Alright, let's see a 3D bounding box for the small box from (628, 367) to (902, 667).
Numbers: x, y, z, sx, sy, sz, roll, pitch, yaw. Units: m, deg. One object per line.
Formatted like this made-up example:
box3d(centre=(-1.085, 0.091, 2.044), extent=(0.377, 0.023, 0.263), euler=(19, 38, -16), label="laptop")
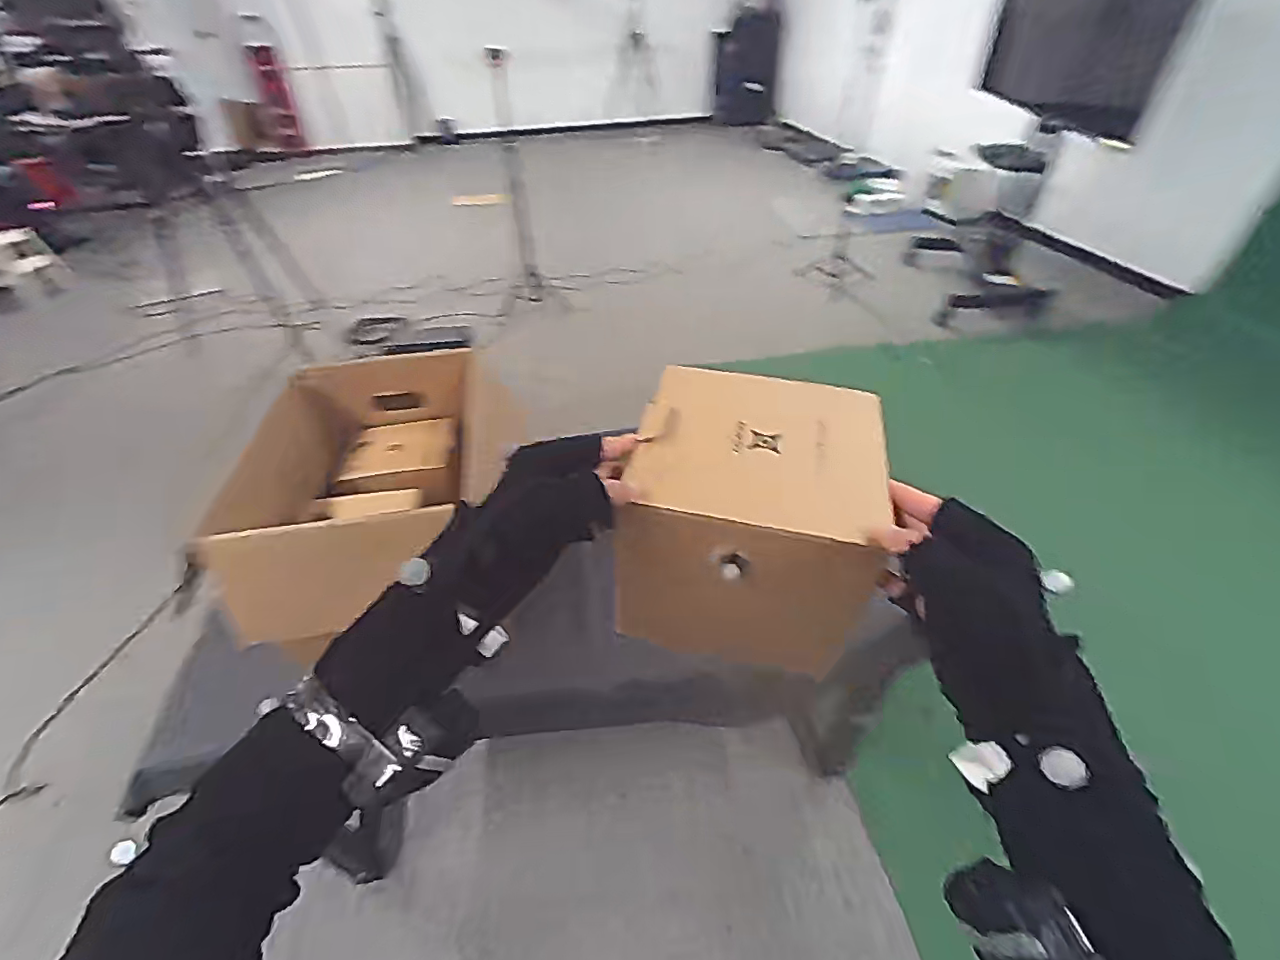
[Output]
box3d(centre=(0.093, 0.031, 0.450), extent=(0.179, 0.176, 0.168), euler=(11, 46, 9), label="small box")
